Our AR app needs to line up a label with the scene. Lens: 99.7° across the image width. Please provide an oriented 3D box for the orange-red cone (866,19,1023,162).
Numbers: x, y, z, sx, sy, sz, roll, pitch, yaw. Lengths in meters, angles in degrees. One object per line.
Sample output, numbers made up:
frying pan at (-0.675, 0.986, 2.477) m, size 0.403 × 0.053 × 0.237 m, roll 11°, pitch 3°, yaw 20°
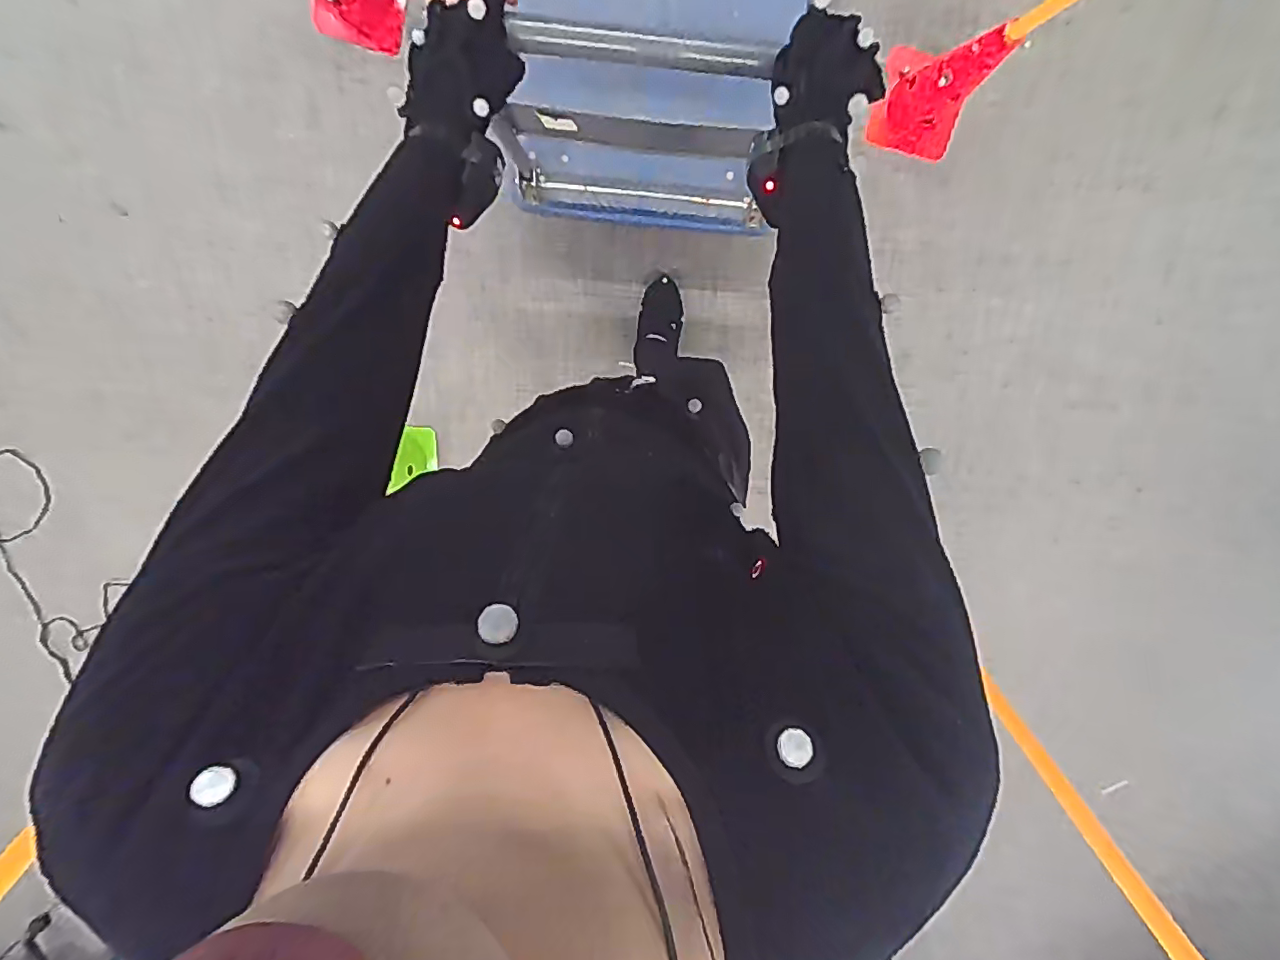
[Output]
orange-red cone at (0.644, -0.817, 1.094) m, size 0.198 × 0.360 × 0.199 m, roll 15°, pitch 107°, yaw -3°
